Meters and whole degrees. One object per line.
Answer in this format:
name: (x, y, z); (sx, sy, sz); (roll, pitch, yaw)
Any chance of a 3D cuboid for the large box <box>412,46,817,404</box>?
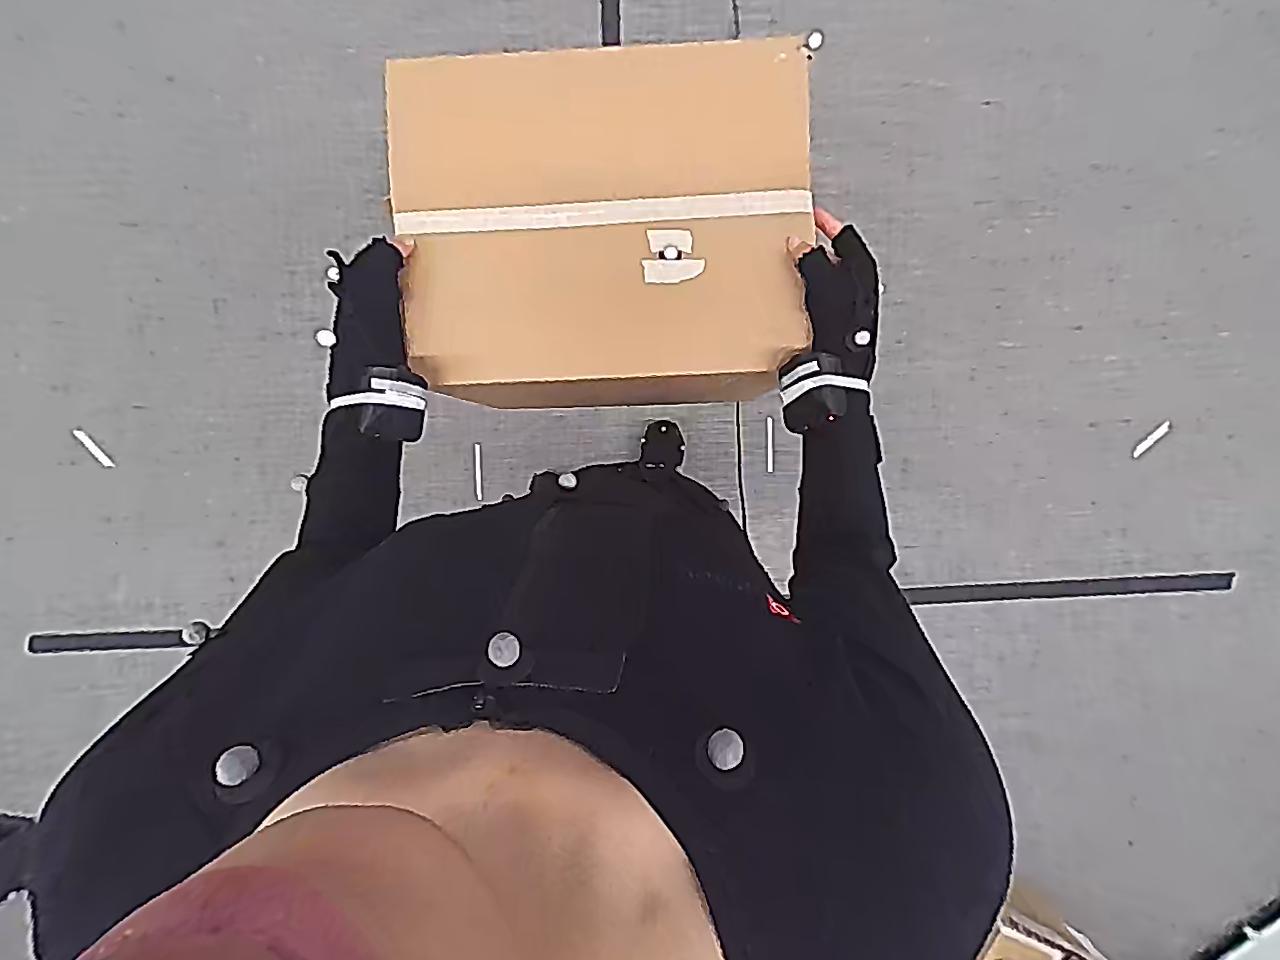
large box: (-0.024, -0.274, 0.692); (0.408, 0.320, 0.320); (-2, 94, 1)
